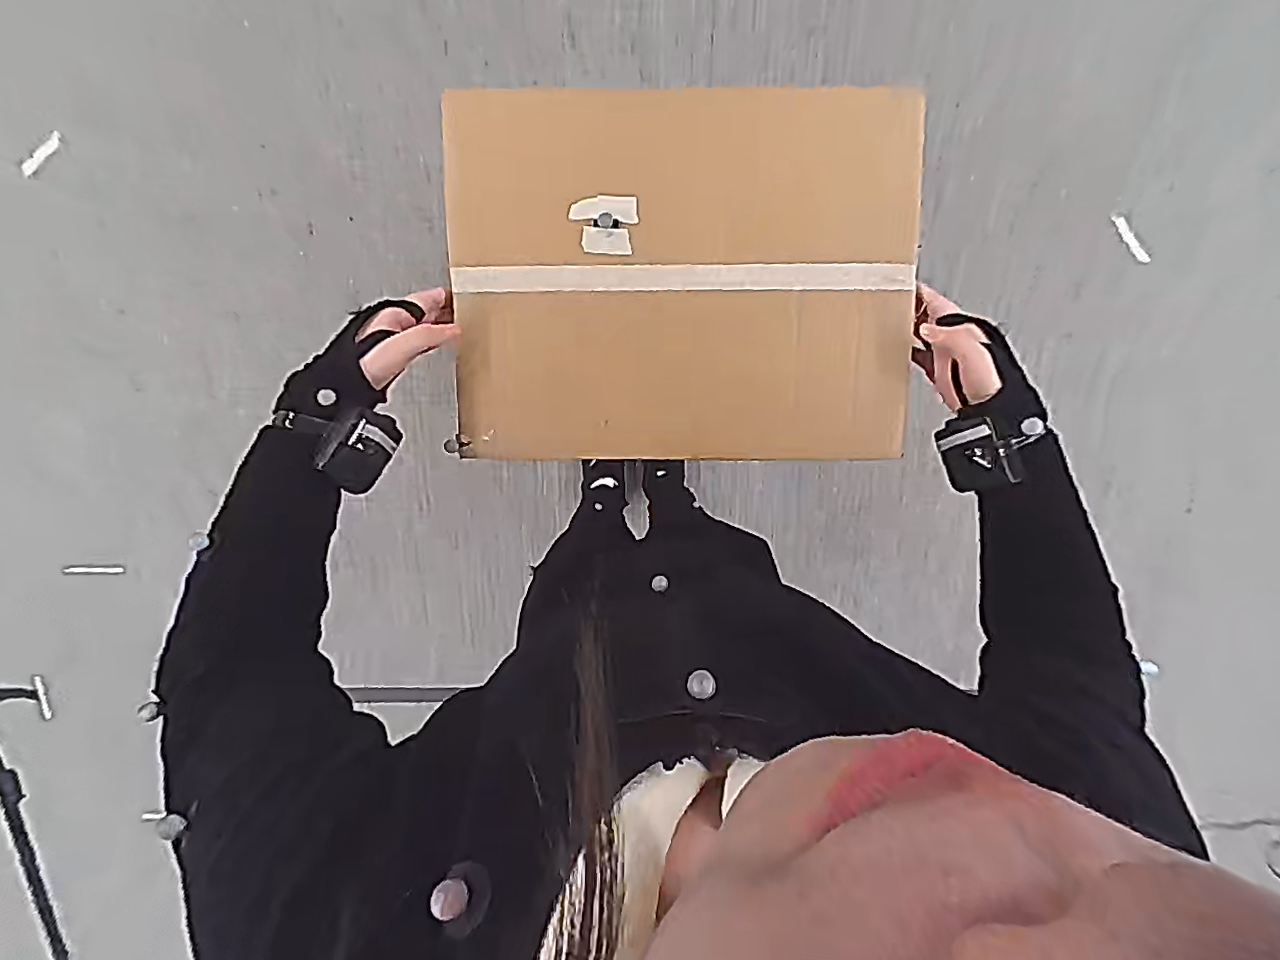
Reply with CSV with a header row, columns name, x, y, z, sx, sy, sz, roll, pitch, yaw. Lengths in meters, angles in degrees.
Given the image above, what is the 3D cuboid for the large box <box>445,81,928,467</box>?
name,x,y,z,sx,sy,sz,roll,pitch,yaw
large box,0.044,-0.188,0.608,0.408,0.320,0.320,0,97,2
